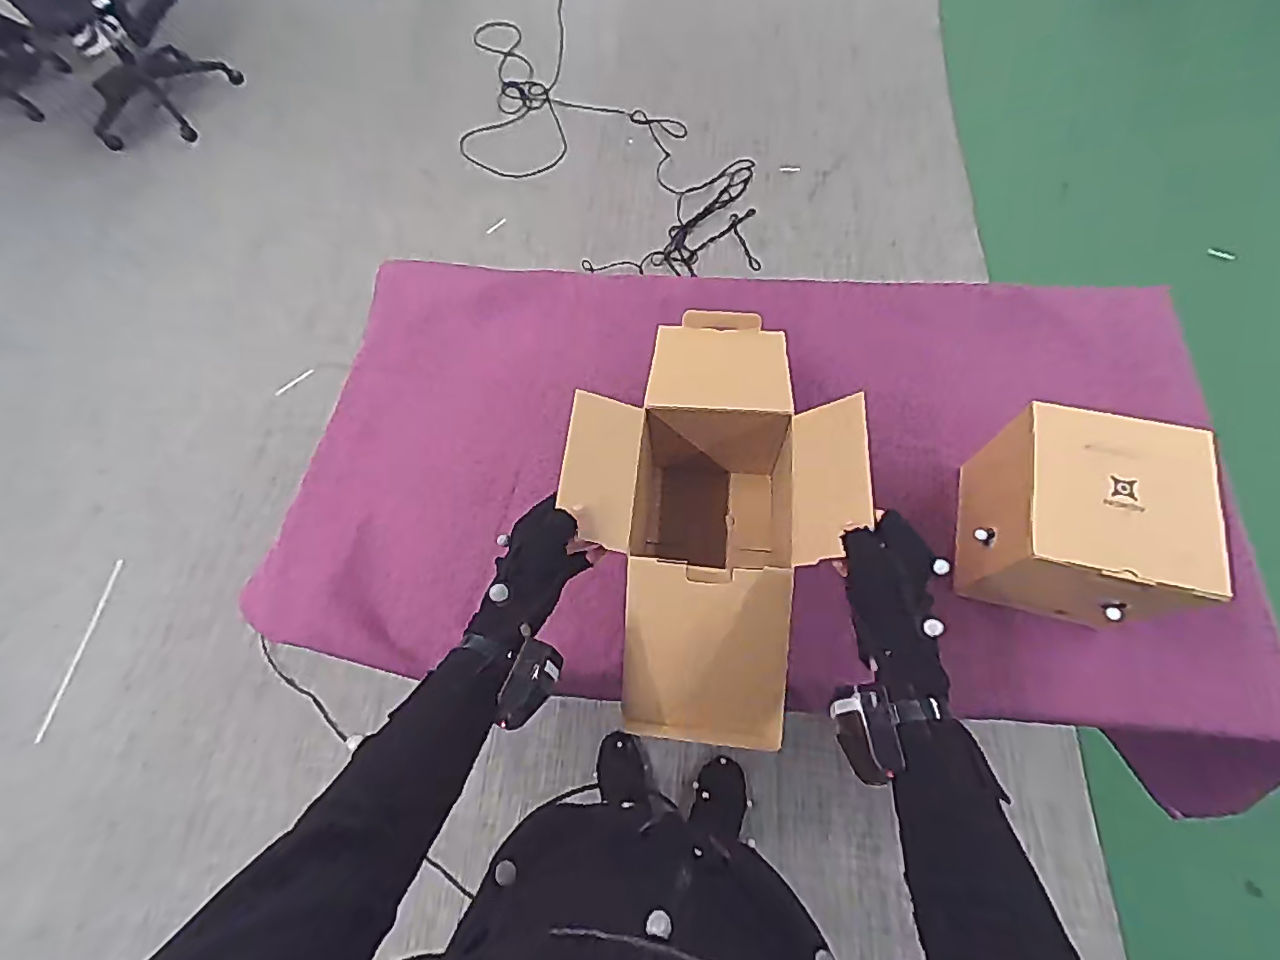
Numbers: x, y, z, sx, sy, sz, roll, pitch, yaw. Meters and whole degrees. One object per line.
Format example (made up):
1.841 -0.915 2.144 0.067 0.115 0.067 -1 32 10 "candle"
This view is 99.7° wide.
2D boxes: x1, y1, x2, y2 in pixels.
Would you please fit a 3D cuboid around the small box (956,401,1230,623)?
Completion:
0.469 0.044 0.591 0.168 0.176 0.179 13 68 11 "small box"
